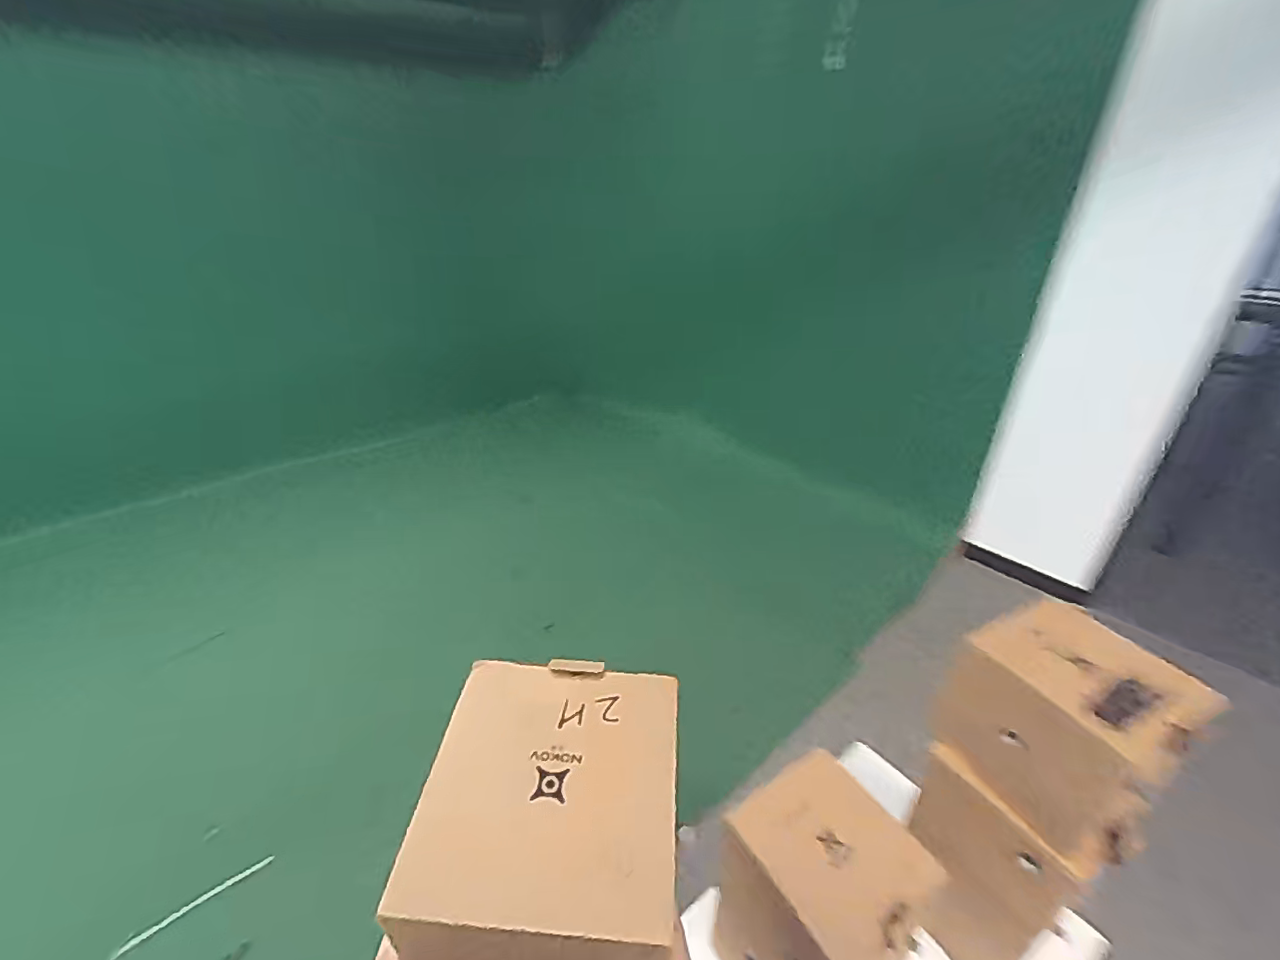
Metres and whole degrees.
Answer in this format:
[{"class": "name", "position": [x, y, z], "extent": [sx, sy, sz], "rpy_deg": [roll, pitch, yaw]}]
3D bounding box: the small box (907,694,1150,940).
[{"class": "small box", "position": [0.480, 0.424, 0.695], "extent": [0.168, 0.176, 0.179], "rpy_deg": [-17, 34, -26]}]

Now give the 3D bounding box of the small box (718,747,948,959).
[{"class": "small box", "position": [0.210, 0.466, 0.629], "extent": [0.168, 0.176, 0.179], "rpy_deg": [-16, 33, -28]}]

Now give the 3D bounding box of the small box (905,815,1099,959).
[{"class": "small box", "position": [0.488, 0.566, 0.774], "extent": [0.168, 0.176, 0.179], "rpy_deg": [-17, 33, -25]}]

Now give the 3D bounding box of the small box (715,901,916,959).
[{"class": "small box", "position": [0.215, 0.607, 0.709], "extent": [0.168, 0.176, 0.179], "rpy_deg": [-17, 35, -27]}]
